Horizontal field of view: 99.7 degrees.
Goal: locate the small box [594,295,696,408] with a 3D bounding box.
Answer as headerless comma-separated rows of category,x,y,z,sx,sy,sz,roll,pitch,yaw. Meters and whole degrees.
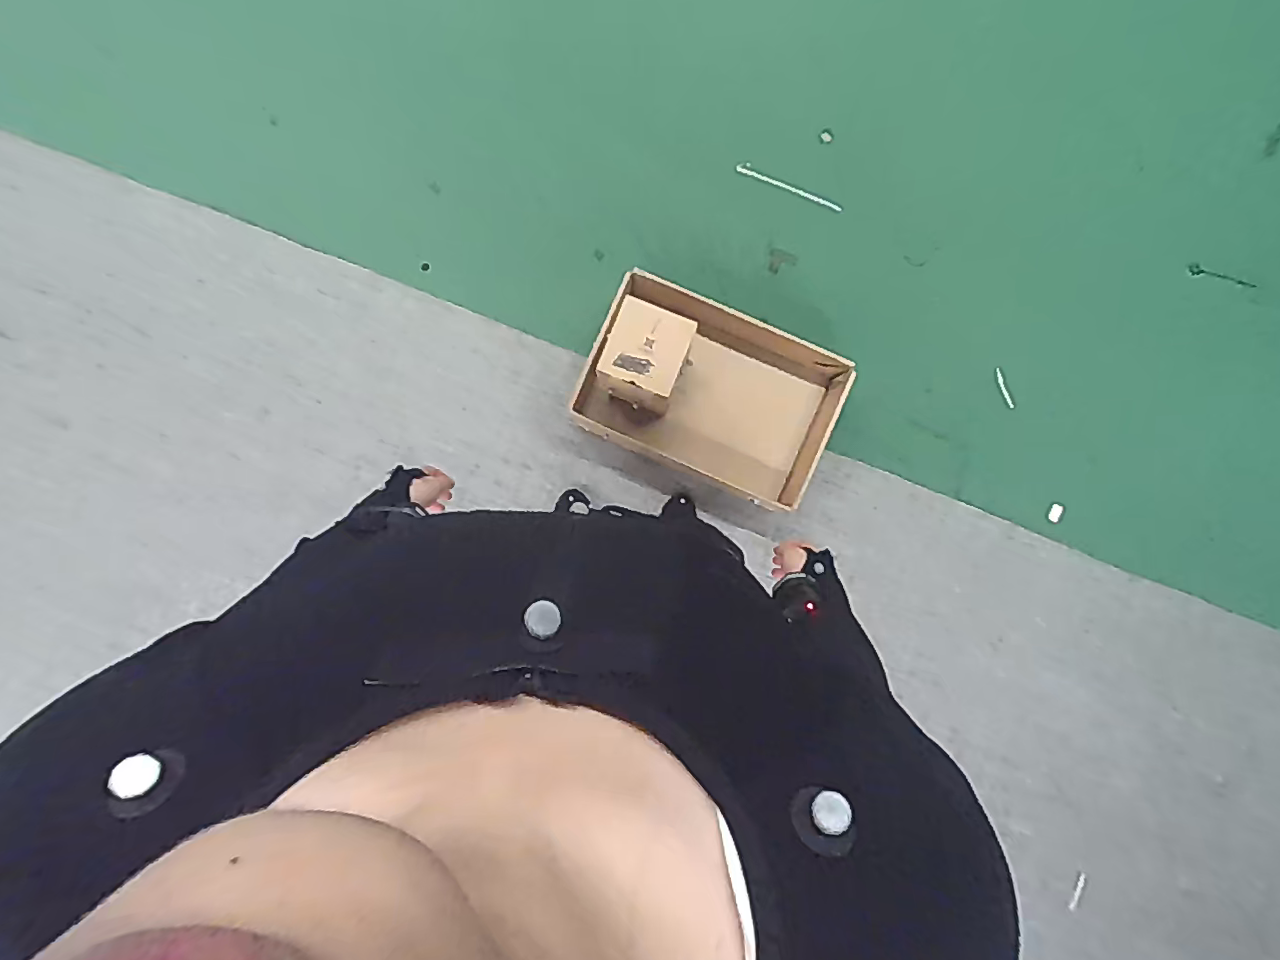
small box,0.011,-0.274,1.198,0.168,0.176,0.179,22,89,-1

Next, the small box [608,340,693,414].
small box,0.019,-0.281,1.362,0.168,0.176,0.179,21,90,0
